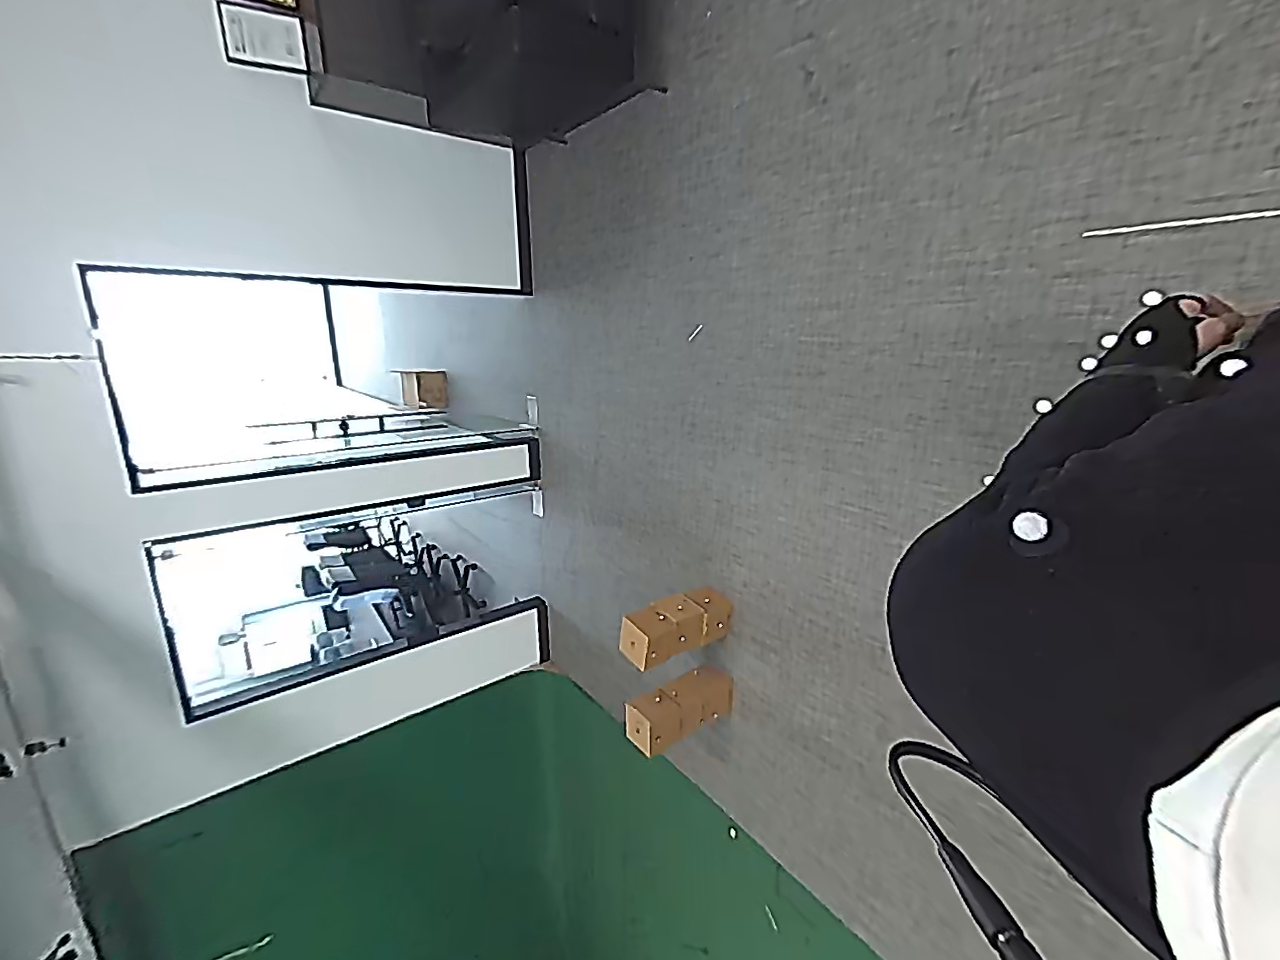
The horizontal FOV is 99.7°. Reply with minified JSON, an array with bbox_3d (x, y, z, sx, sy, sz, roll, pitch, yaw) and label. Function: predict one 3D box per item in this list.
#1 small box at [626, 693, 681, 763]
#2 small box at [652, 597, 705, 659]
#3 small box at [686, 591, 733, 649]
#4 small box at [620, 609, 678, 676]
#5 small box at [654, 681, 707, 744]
[{"bbox_3d":[0.058,1.038,2.278,0.168,0.176,0.179,16,111,50],"label":"small box"},{"bbox_3d":[0.161,0.629,2.321,0.168,0.176,0.179,26,119,47],"label":"small box"},{"bbox_3d":[0.294,0.616,2.415,0.179,0.176,0.168,27,119,45],"label":"small box"},{"bbox_3d":[0.039,0.659,2.217,0.168,0.176,0.179,31,122,44],"label":"small box"},{"bbox_3d":[0.181,1.019,2.387,0.179,0.176,0.168,16,110,52],"label":"small box"}]
